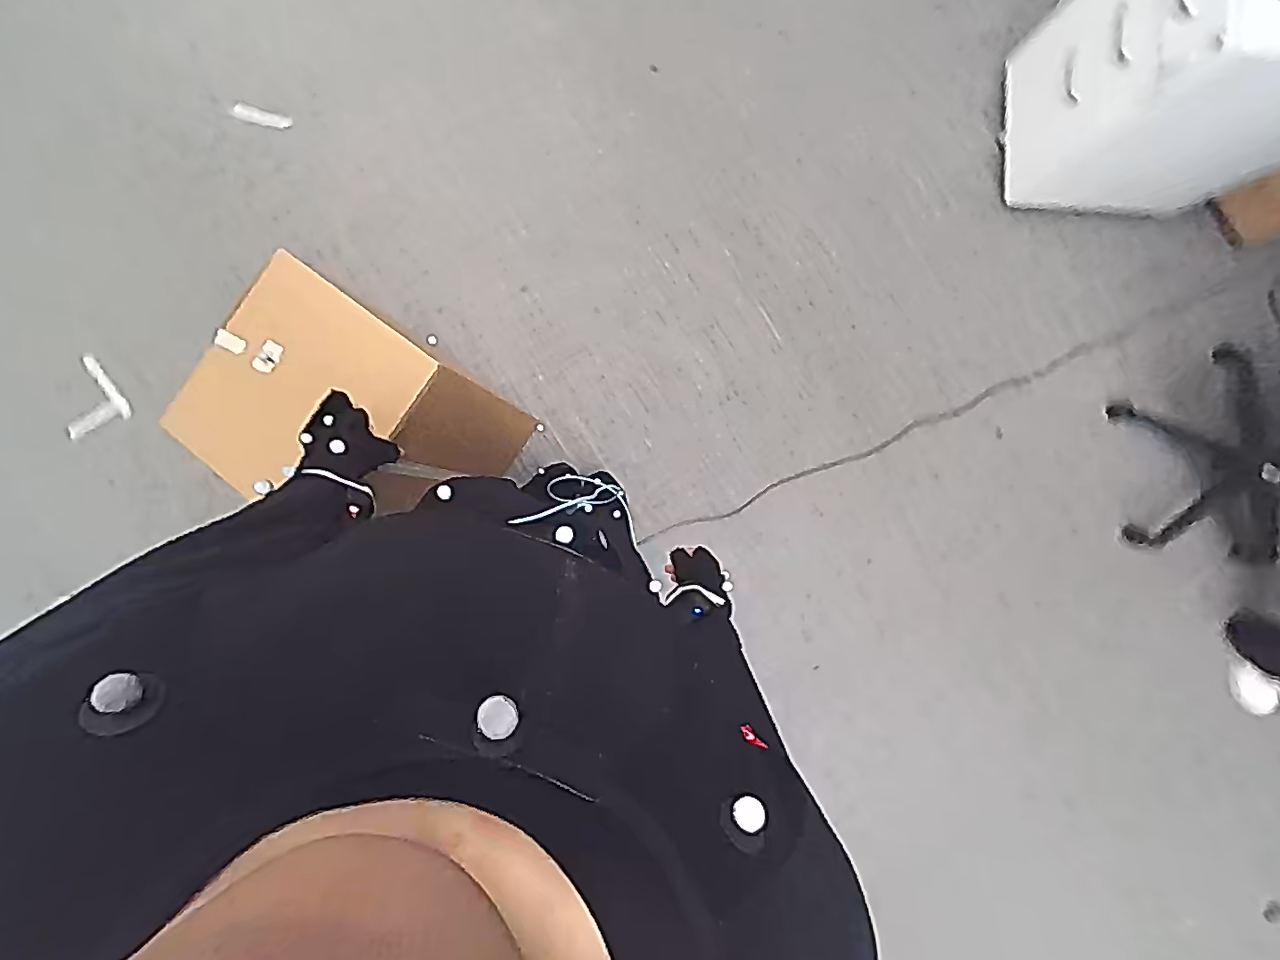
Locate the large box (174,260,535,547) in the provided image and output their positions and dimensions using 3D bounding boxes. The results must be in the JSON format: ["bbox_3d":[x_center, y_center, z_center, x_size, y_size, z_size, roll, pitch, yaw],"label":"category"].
[{"bbox_3d":[-0.454,-0.107,0.951,0.320,0.408,0.320,36,92,9],"label":"large box"}]
